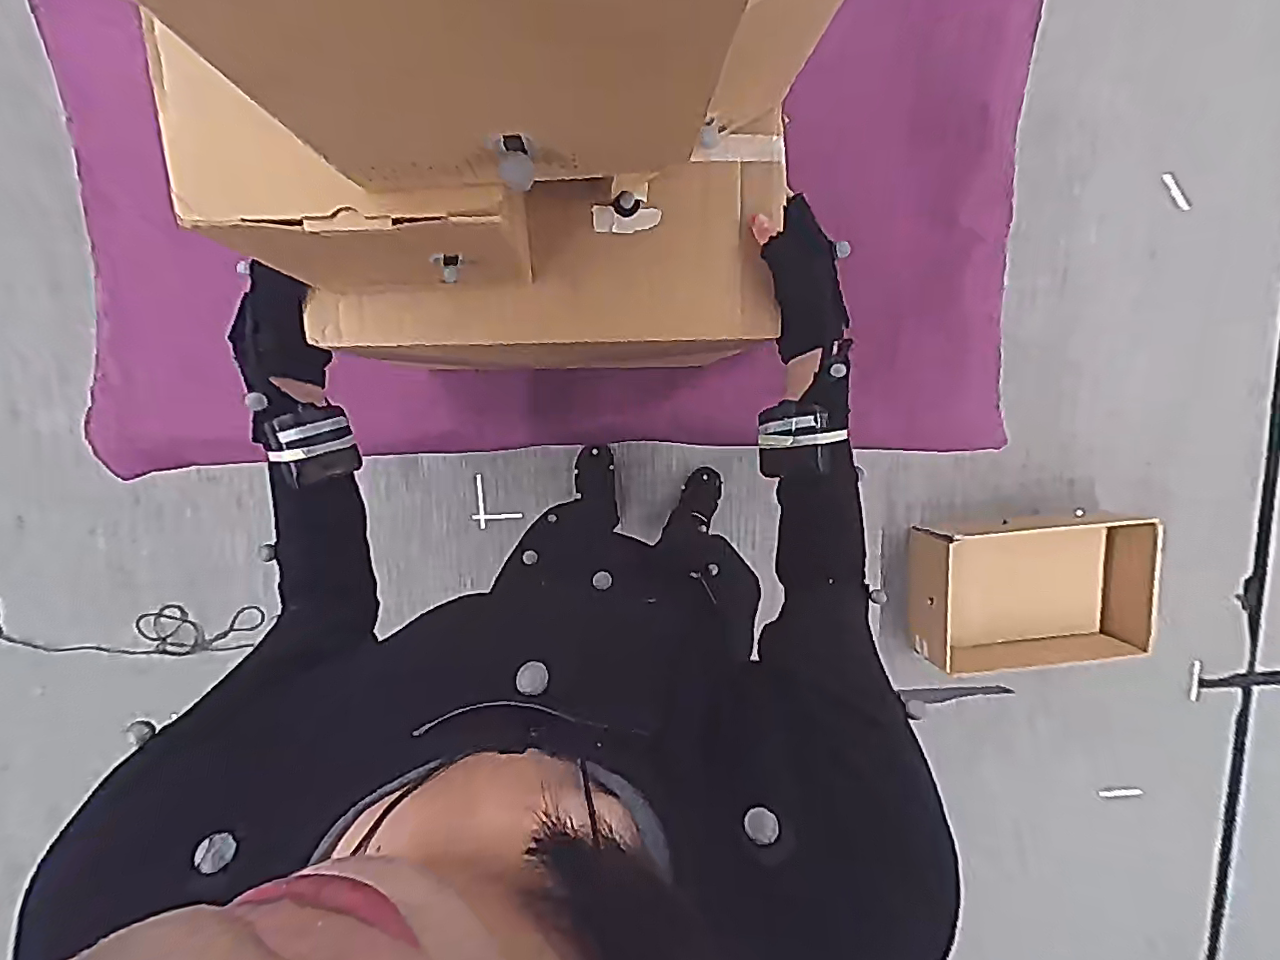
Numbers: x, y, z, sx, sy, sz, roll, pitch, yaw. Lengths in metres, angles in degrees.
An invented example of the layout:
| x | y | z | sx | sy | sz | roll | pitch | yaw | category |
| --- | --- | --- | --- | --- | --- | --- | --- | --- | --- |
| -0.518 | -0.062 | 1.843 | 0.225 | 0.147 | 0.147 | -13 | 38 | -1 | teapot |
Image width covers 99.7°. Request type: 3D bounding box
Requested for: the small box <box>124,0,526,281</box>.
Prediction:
| x | y | z | sx | sy | sz | roll | pitch | yaw | category |
| --- | --- | --- | --- | --- | --- | --- | --- | --- | --- |
| -0.167 | -0.231 | 0.341 | 0.168 | 0.176 | 0.179 | -5 | 97 | -6 | small box |

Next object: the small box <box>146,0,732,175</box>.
| x | y | z | sx | sy | sz | roll | pitch | yaw | category |
| --- | --- | --- | --- | --- | --- | --- | --- | --- | --- |
| -0.062 | -0.226 | 0.185 | 0.179 | 0.176 | 0.168 | -5 | 98 | -4 | small box |

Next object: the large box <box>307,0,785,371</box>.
| x | y | z | sx | sy | sz | roll | pitch | yaw | category |
| --- | --- | --- | --- | --- | --- | --- | --- | --- | --- |
| -0.092 | -0.293 | 0.587 | 0.408 | 0.320 | 0.320 | -3 | 99 | -6 | large box |
